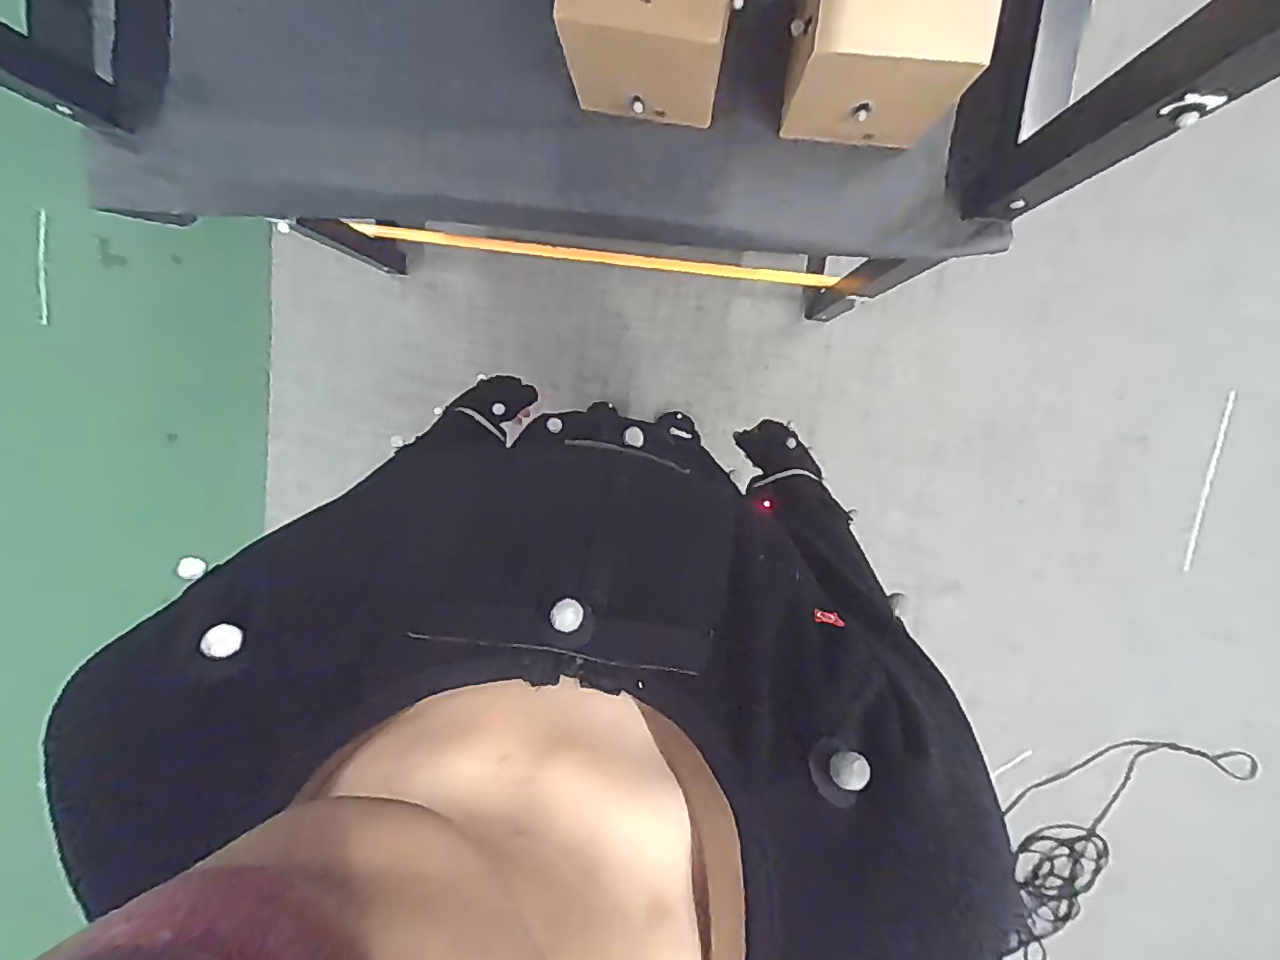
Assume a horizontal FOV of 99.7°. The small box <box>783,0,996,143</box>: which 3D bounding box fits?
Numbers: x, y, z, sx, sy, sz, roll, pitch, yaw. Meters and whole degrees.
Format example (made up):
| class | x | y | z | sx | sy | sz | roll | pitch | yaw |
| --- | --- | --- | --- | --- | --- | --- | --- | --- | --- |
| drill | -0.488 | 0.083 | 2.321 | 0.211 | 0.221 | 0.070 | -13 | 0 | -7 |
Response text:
| class | x | y | z | sx | sy | sz | roll | pitch | yaw |
| --- | --- | --- | --- | --- | --- | --- | --- | --- | --- |
| small box | 0.258 | -0.494 | 0.579 | 0.168 | 0.176 | 0.179 | 7 | 98 | 2 |
